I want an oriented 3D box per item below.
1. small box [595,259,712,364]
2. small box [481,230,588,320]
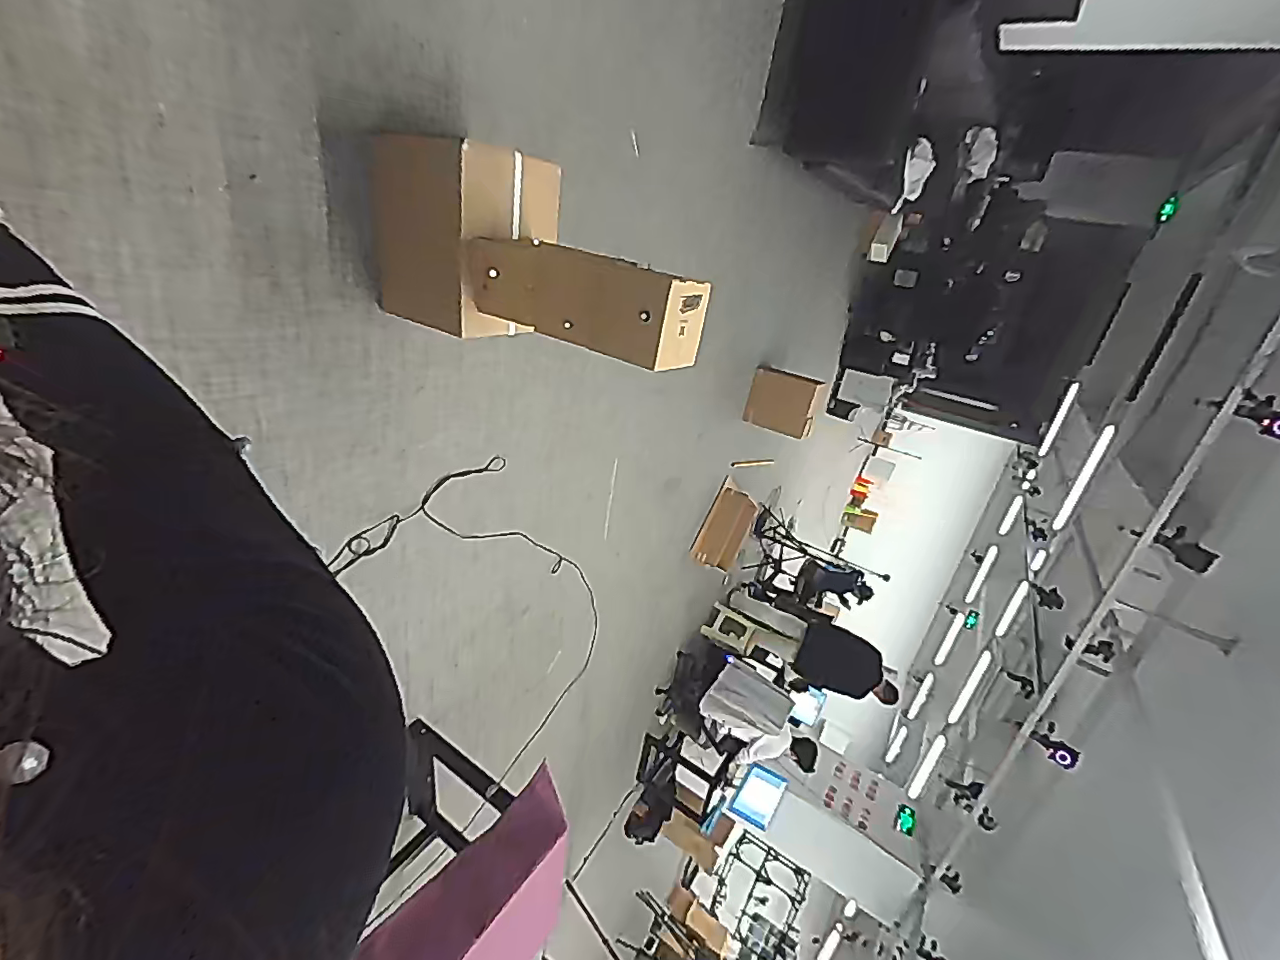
[{"bbox_3d":[0.025,-0.354,1.127,0.168,0.176,0.179,-25,134,-52],"label":"small box"},{"bbox_3d":[-0.246,-0.482,1.264,0.179,0.176,0.168,-29,135,-50],"label":"small box"}]
